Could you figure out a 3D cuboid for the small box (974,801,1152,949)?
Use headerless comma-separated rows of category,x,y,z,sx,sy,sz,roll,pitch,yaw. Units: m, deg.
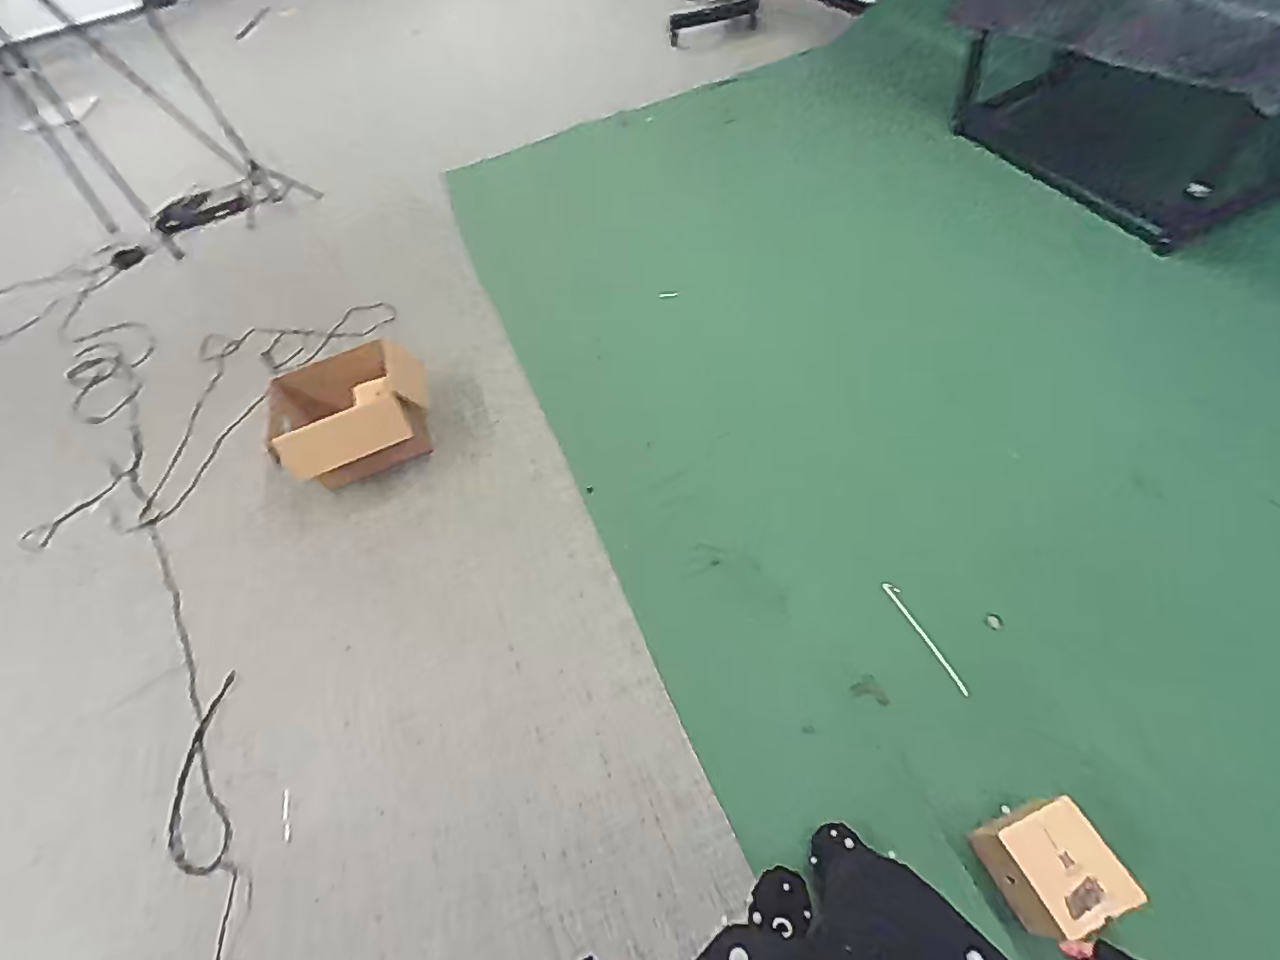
small box,0.793,0.745,1.037,0.168,0.176,0.179,-22,55,-6
